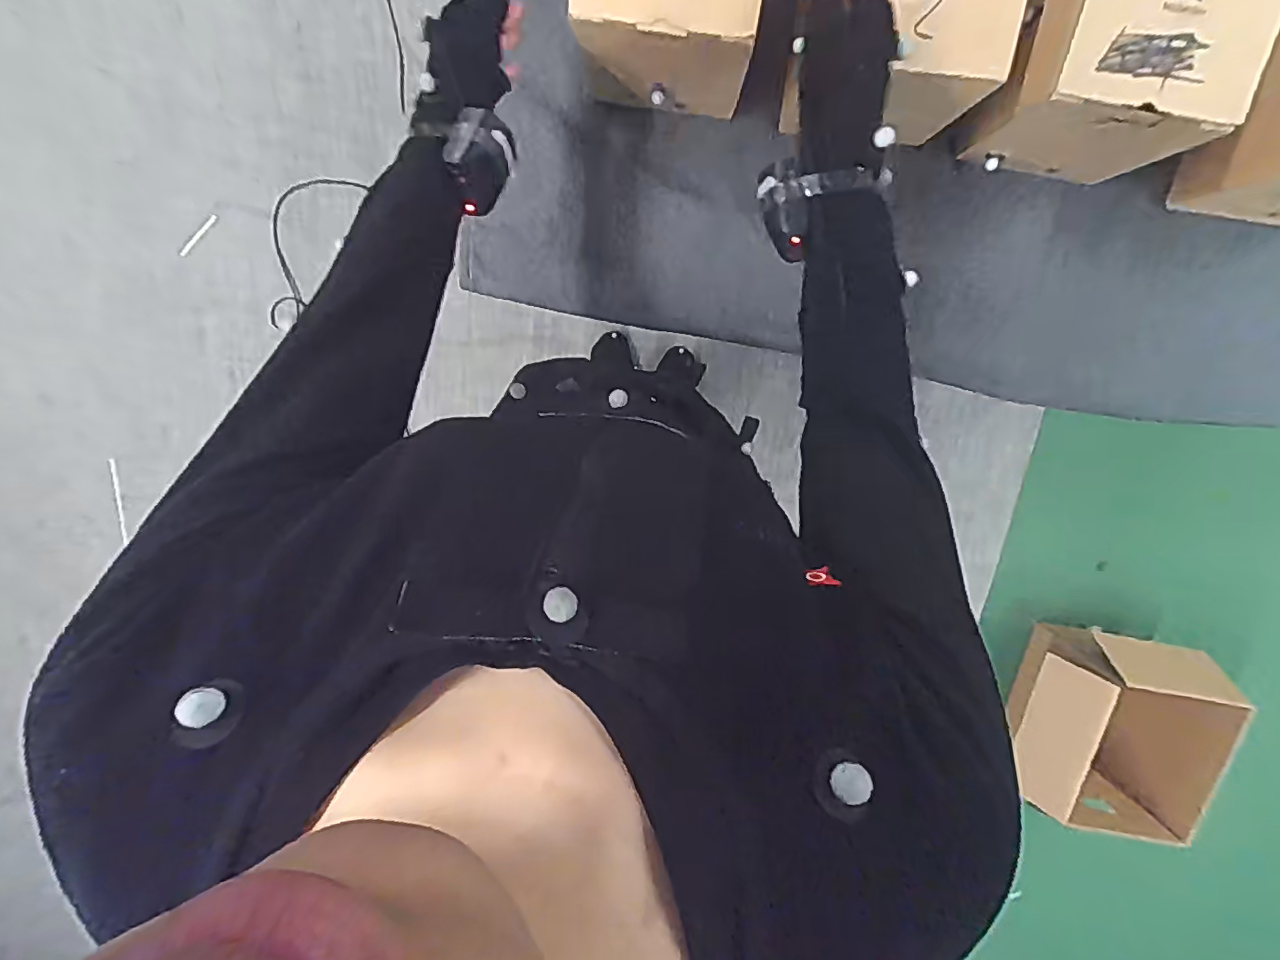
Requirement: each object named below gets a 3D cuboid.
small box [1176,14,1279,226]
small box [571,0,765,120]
[{"bbox_3d":[0.695,-0.359,0.526,0.168,0.176,0.179,9,104,1],"label":"small box"},{"bbox_3d":[0.035,-0.487,0.522,0.168,0.176,0.179,8,105,0],"label":"small box"}]
